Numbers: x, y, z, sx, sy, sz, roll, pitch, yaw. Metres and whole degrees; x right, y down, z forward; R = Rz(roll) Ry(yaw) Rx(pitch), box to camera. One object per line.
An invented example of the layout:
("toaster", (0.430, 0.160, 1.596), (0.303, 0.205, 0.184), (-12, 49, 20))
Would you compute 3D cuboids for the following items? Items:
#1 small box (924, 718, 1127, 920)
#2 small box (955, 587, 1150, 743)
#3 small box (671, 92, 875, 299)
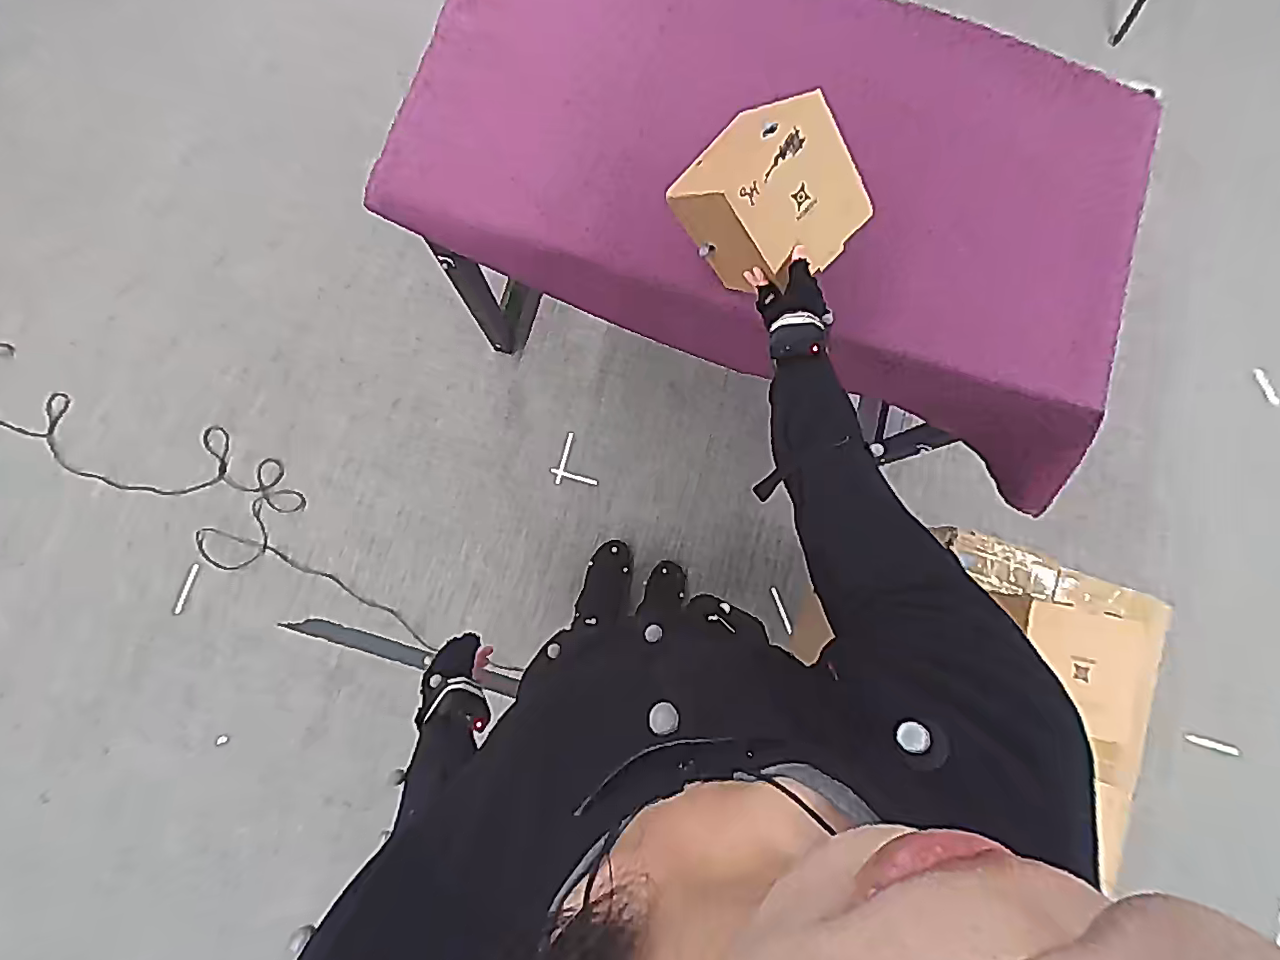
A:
("small box", (0.550, 0.480, 0.795), (0.168, 0.176, 0.179), (18, 80, 1))
("small box", (0.616, 0.268, 0.828), (0.168, 0.176, 0.179), (13, 83, 1))
("small box", (0.176, -0.381, 0.742), (0.168, 0.176, 0.179), (-46, 124, 2))
